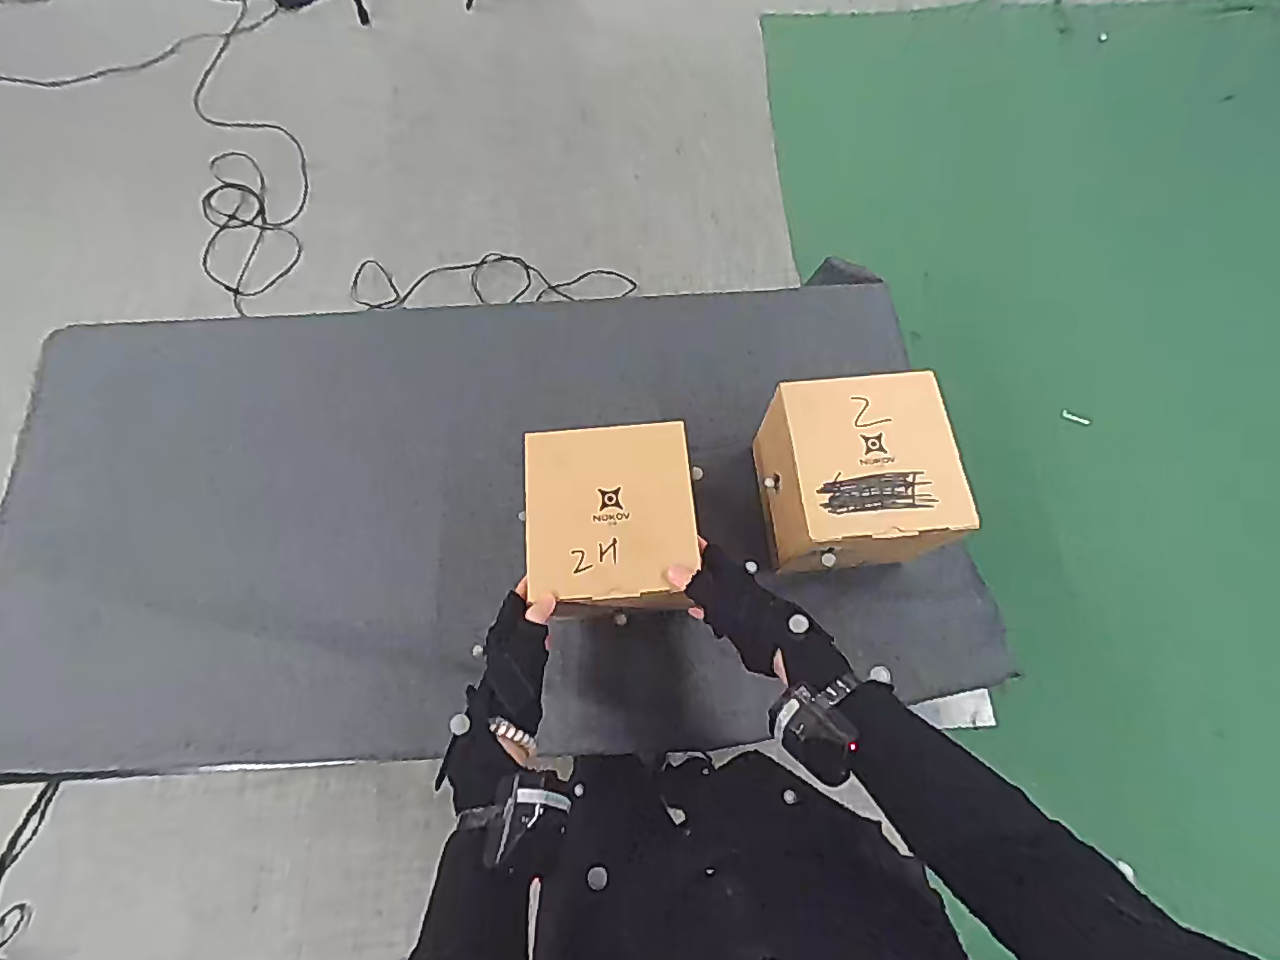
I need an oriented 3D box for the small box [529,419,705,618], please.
[{"bbox_3d":[-0.026,0.050,0.601,0.168,0.176,0.179,-4,69,0],"label":"small box"}]
